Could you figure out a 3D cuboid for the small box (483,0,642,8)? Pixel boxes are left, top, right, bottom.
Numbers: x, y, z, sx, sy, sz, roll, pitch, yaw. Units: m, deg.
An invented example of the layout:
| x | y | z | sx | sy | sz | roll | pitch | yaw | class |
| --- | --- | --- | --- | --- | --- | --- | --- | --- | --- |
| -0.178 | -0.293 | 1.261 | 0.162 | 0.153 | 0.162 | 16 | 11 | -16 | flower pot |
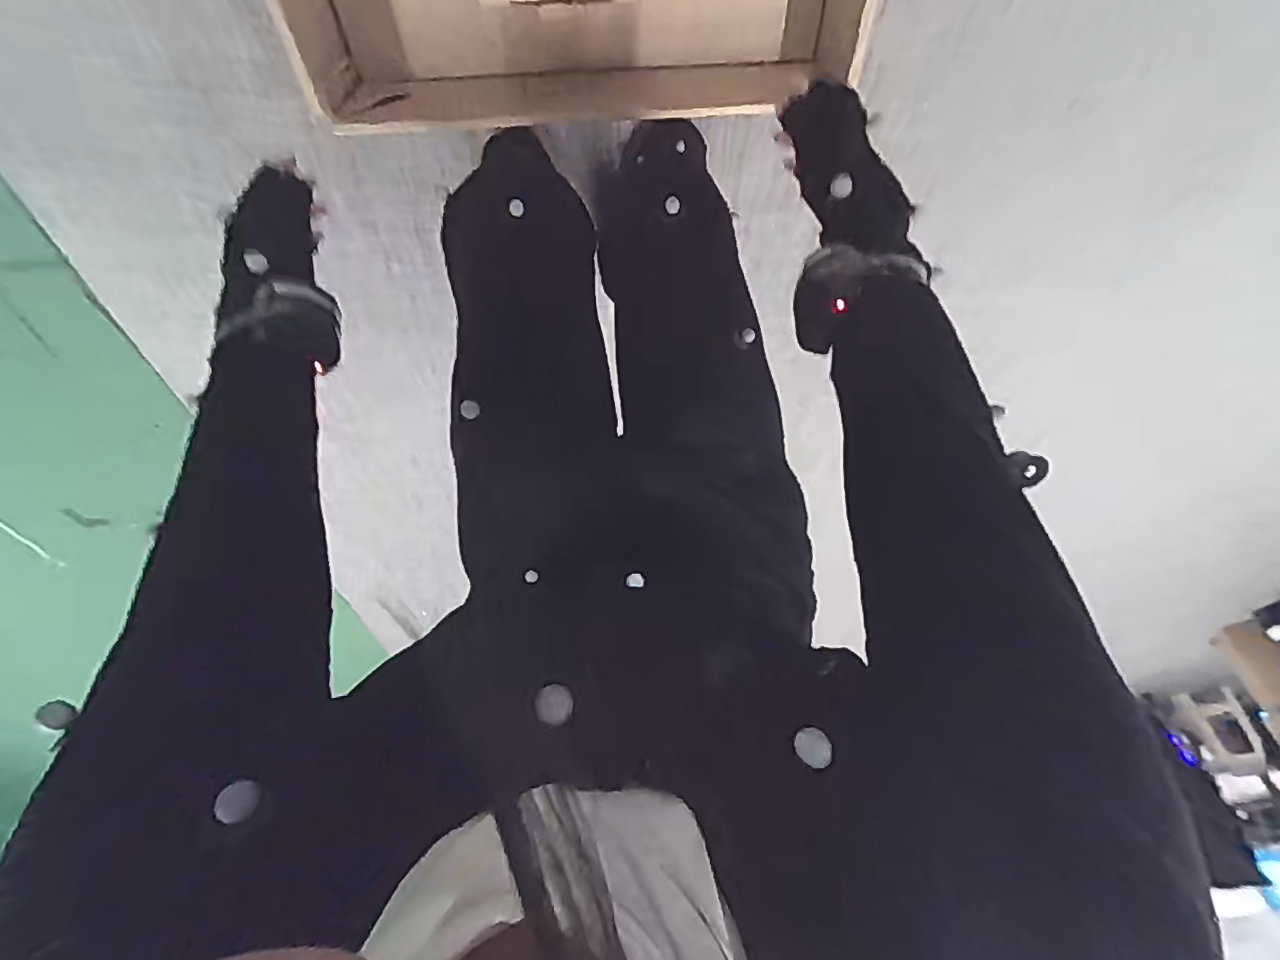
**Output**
| x | y | z | sx | sy | sz | roll | pitch | yaw | class |
| --- | --- | --- | --- | --- | --- | --- | --- | --- | --- |
| -0.080 | -0.592 | 0.523 | 0.168 | 0.176 | 0.179 | -3 | 142 | -2 | small box |
